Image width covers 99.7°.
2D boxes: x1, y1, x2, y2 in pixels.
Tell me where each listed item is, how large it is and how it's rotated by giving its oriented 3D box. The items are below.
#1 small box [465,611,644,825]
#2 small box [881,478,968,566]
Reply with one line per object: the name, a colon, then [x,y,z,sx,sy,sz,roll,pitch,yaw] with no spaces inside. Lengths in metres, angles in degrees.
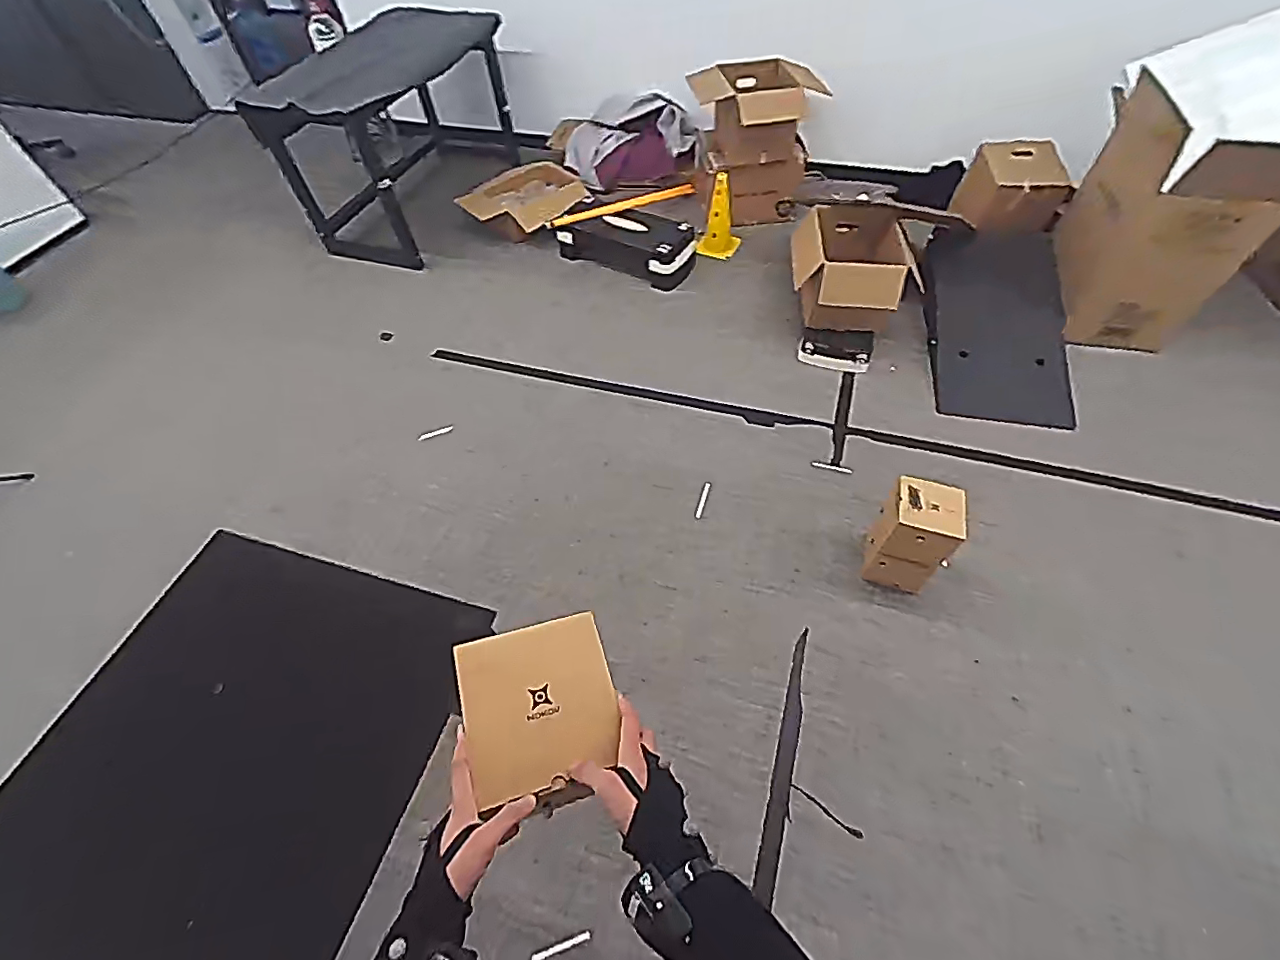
small box: [-0.109,0.286,0.649,0.168,0.176,0.179,-10,56,-17]
small box: [0.800,0.124,1.533,0.179,0.176,0.168,14,56,11]
